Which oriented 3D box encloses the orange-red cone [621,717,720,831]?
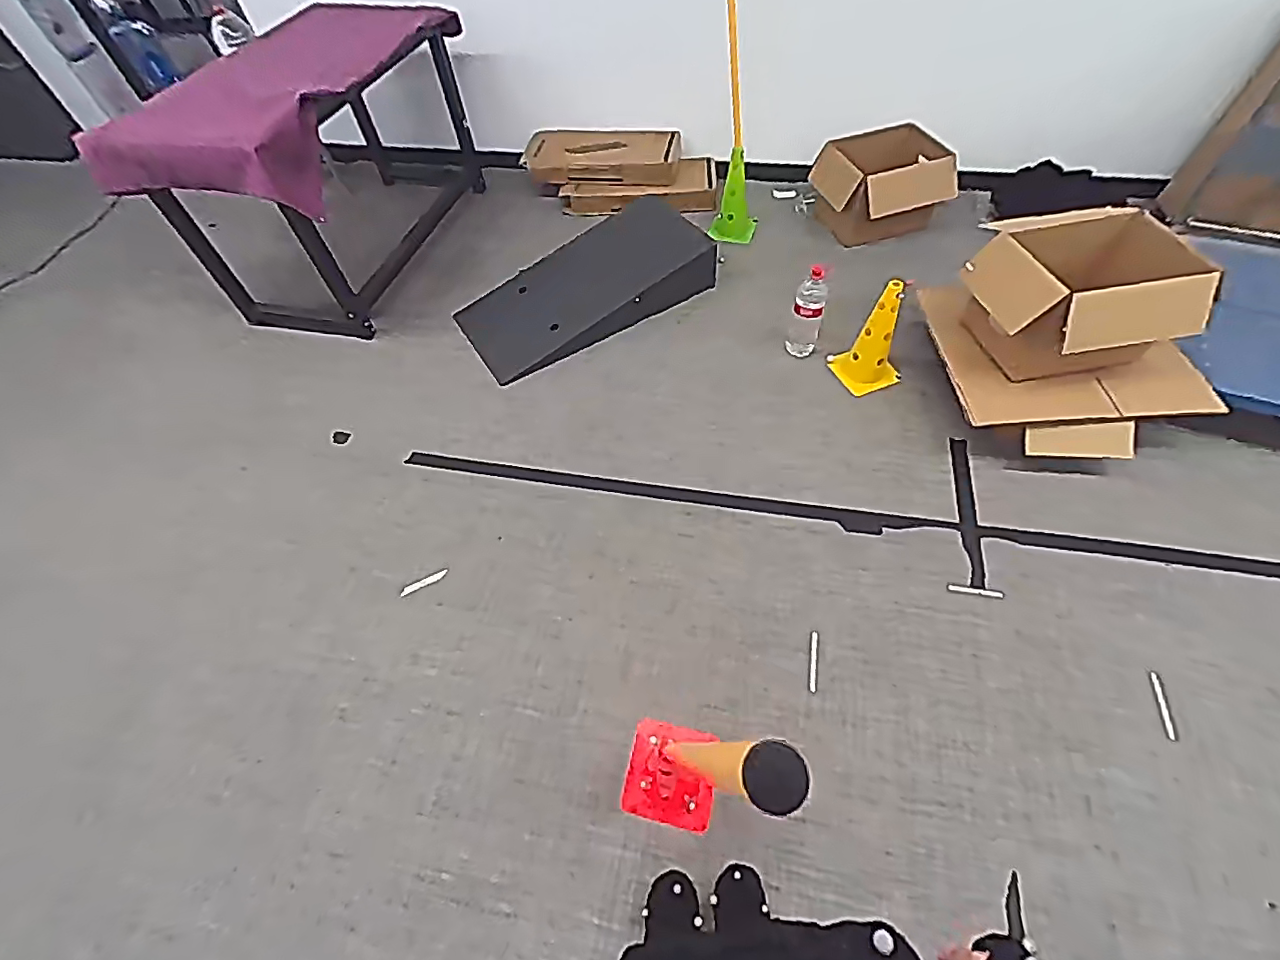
[{"bbox_3d":[0.063,0.564,1.087,0.198,0.360,0.199,11,56,11],"label":"orange-red cone"}]
